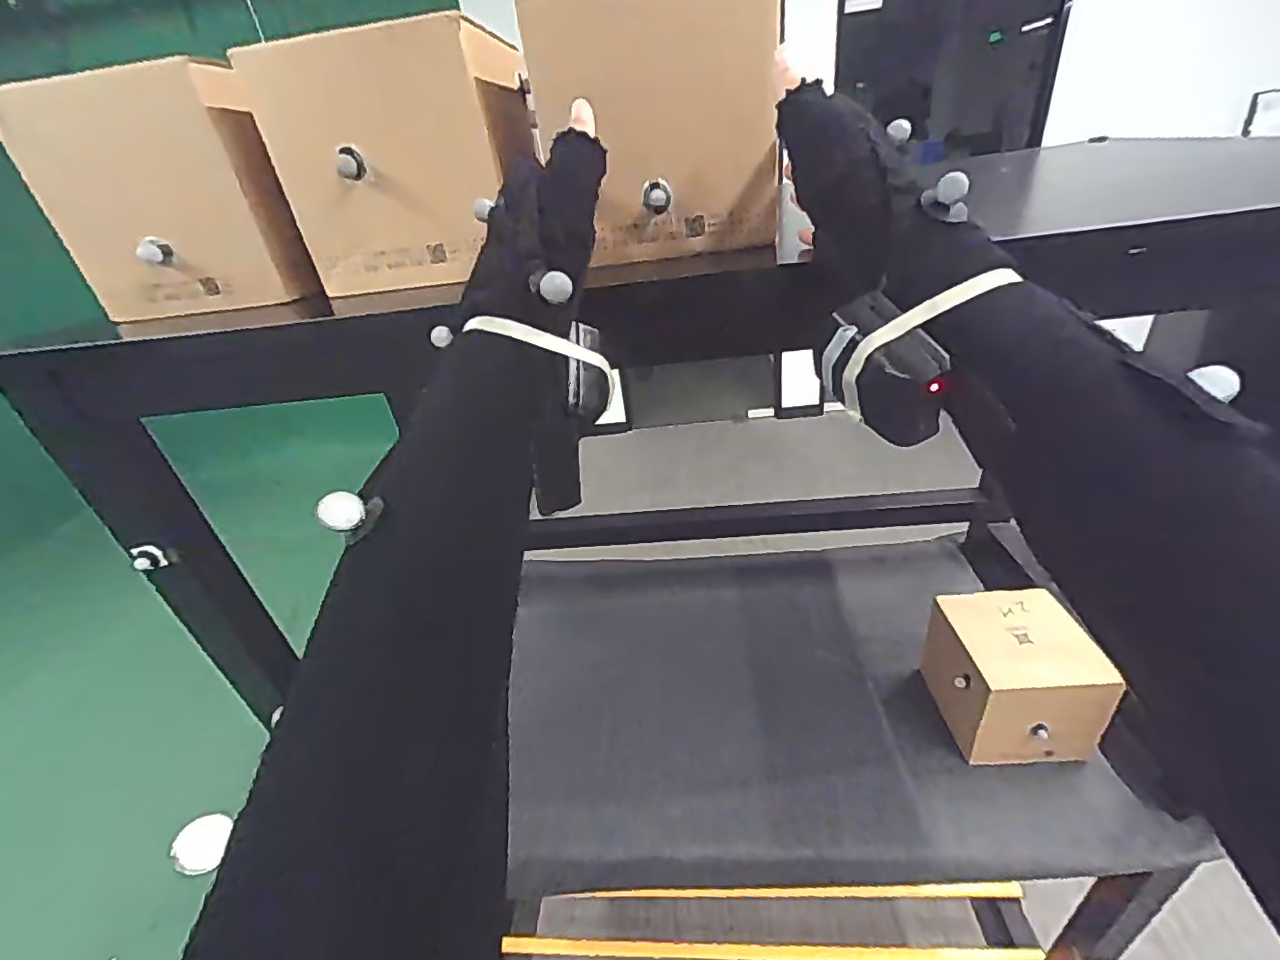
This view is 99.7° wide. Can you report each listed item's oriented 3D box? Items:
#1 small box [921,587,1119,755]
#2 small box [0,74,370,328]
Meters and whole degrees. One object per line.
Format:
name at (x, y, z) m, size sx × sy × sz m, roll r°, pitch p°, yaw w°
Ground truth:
small box at (0.542, 0.285, 0.802) m, size 0.168 × 0.176 × 0.179 m, roll -5°, pitch 30°, yaw 5°
small box at (-0.379, -0.249, 0.494) m, size 0.168 × 0.176 × 0.179 m, roll -5°, pitch 32°, yaw 5°
